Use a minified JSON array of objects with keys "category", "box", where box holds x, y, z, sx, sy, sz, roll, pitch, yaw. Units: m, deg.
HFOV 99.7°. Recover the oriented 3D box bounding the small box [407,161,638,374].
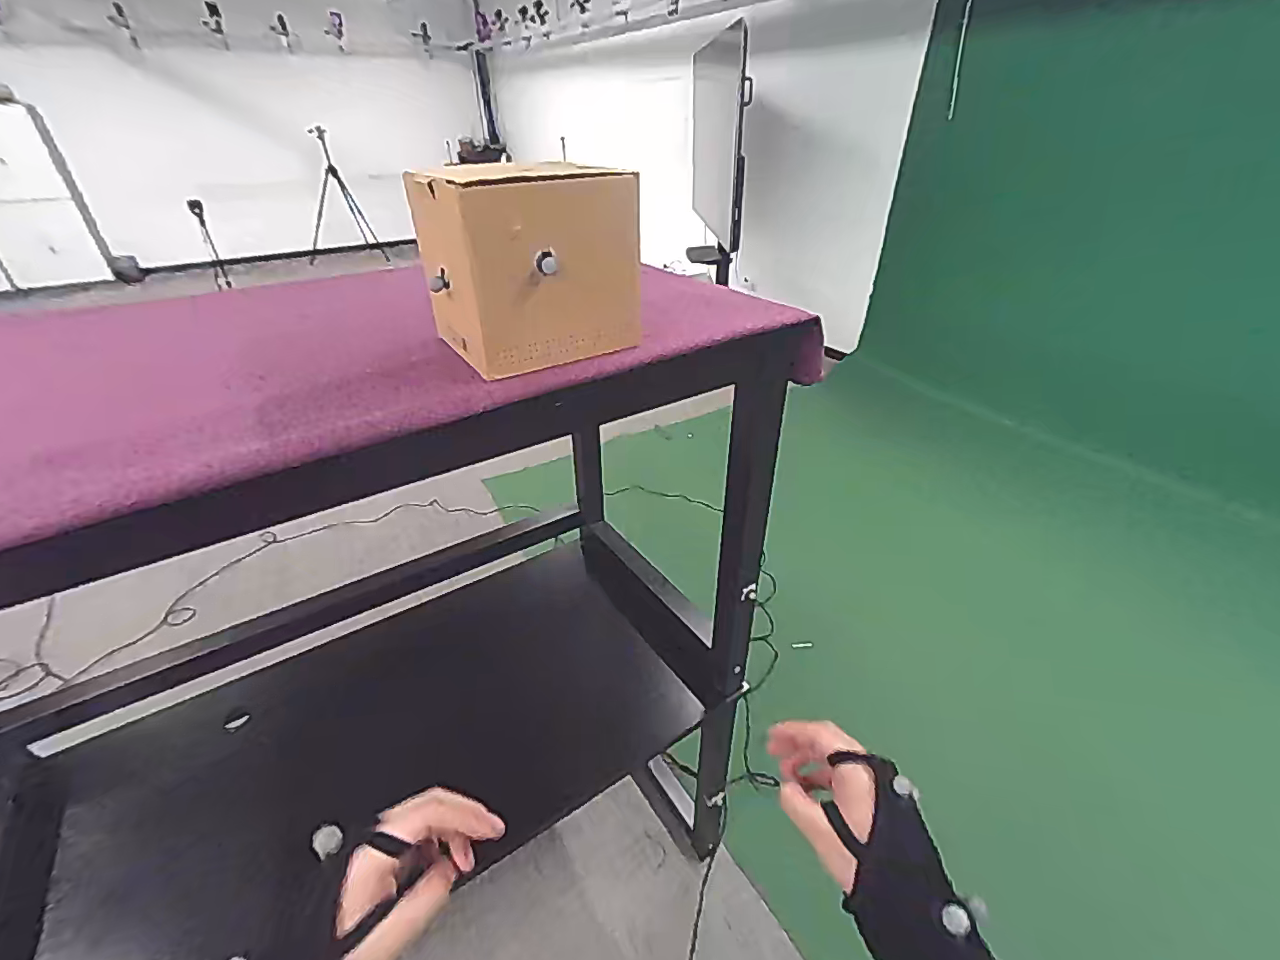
[{"category":"small box","box":[-0.113,-0.224,0.560,0.179,0.176,0.168,-21,40,-26]}]
